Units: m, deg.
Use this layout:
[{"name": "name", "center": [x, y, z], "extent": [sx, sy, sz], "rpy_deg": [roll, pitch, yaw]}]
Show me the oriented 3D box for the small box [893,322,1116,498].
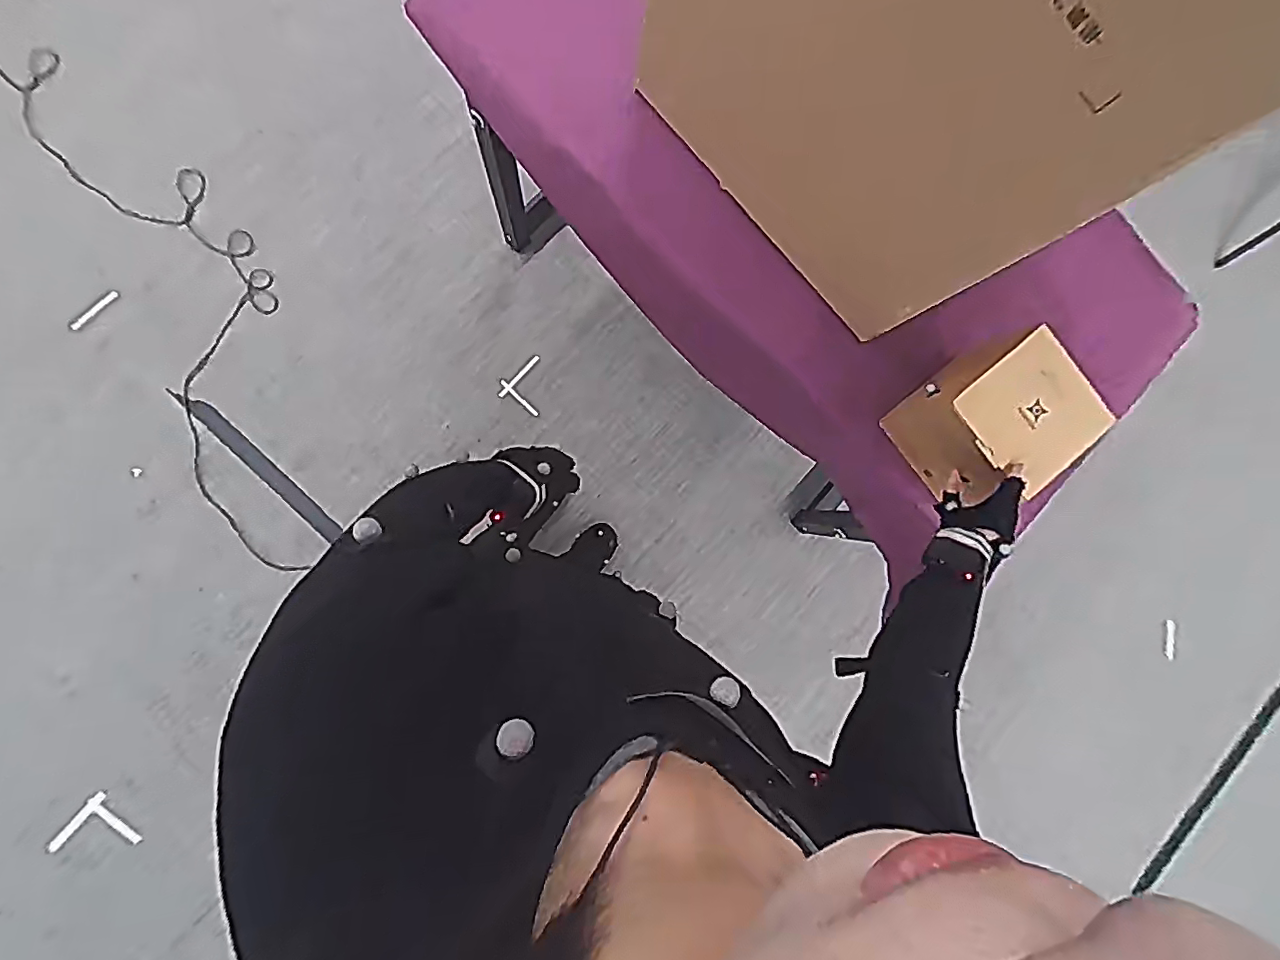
[{"name": "small box", "center": [0.498, -0.086, 0.772], "extent": [0.179, 0.176, 0.168], "rpy_deg": [-39, 93, -8]}]
